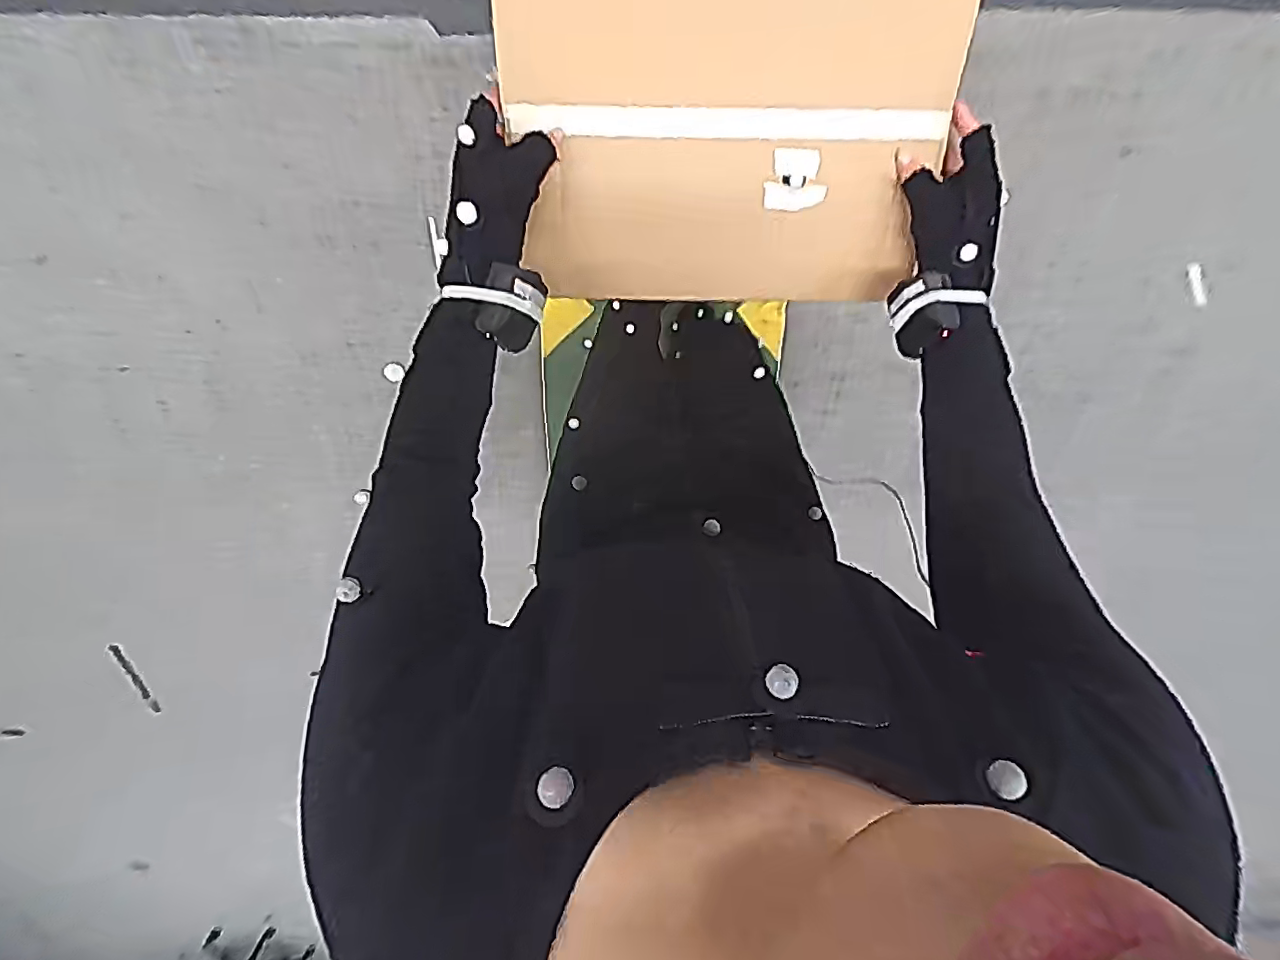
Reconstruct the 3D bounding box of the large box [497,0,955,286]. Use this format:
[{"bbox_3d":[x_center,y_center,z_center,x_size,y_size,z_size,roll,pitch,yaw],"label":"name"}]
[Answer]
[{"bbox_3d":[0.069,-0.419,0.634,0.408,0.320,0.320,-1,121,-2],"label":"large box"}]
